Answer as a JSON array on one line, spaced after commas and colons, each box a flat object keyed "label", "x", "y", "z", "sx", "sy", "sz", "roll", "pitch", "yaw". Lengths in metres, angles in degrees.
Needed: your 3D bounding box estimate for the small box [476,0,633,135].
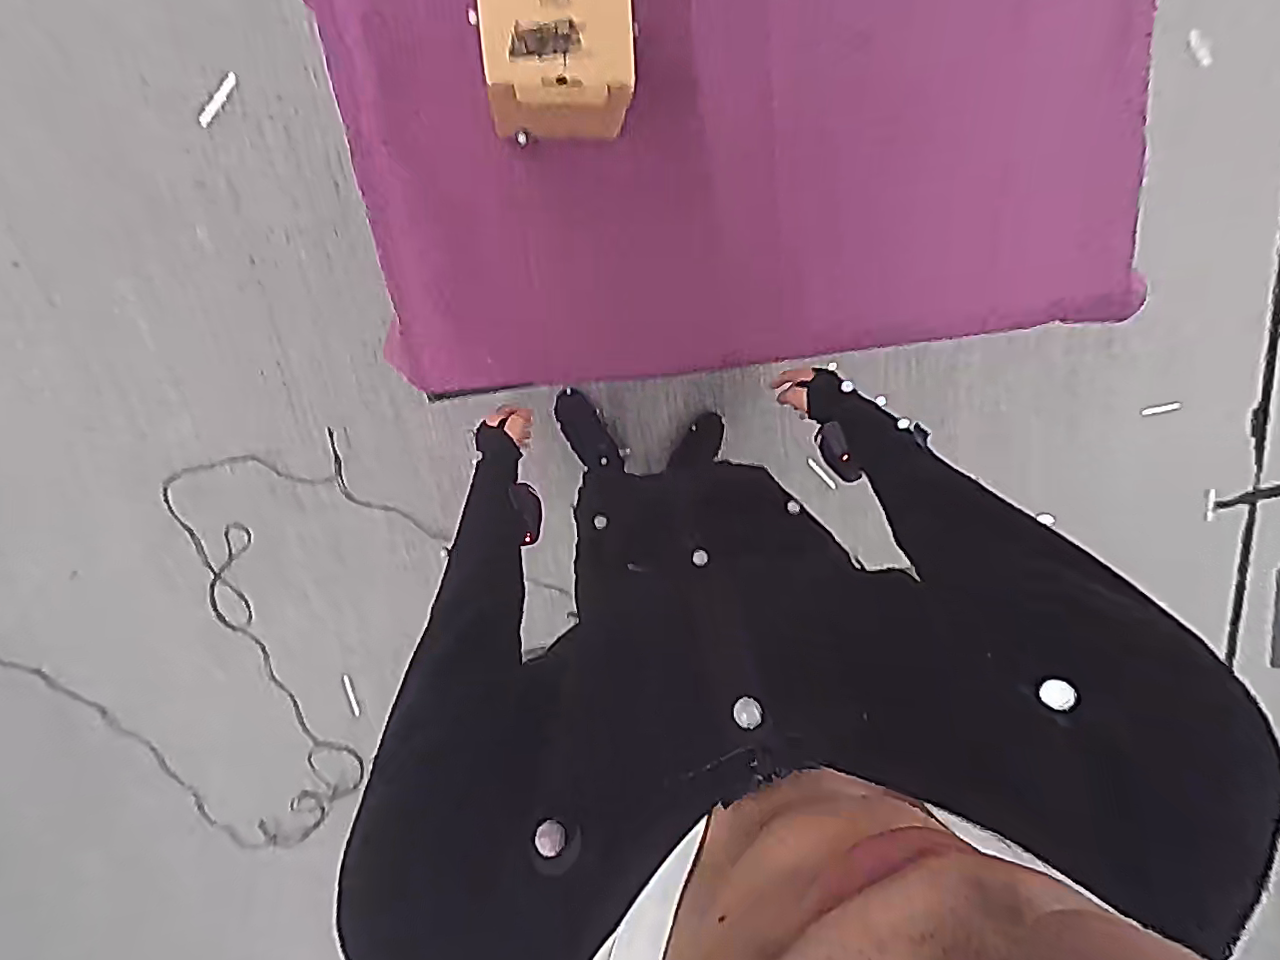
[{"label": "small box", "x": -0.103, "y": -0.534, "z": 0.644, "sx": 0.168, "sy": 0.176, "sz": 0.179, "roll": -5, "pitch": 105, "yaw": -9}]
